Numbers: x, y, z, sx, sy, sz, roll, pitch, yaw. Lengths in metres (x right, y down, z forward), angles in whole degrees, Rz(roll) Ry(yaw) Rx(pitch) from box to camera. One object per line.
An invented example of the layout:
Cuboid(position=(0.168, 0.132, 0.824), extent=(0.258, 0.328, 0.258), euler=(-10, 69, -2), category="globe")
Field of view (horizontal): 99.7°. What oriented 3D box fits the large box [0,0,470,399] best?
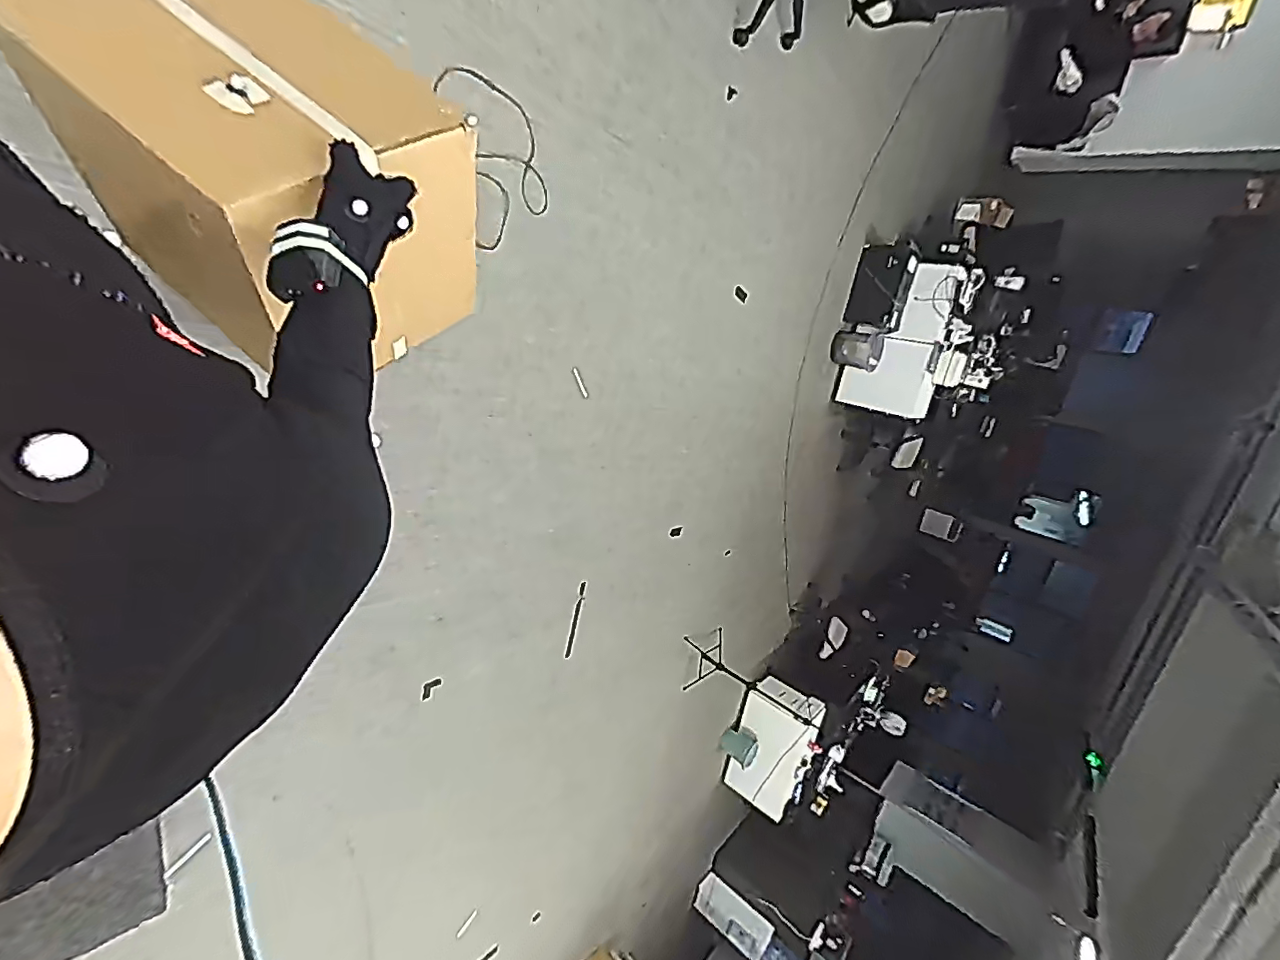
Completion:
Cuboid(position=(-0.494, -0.393, 0.738), extent=(0.320, 0.408, 0.320), euler=(-46, 172, -32), category="large box")
